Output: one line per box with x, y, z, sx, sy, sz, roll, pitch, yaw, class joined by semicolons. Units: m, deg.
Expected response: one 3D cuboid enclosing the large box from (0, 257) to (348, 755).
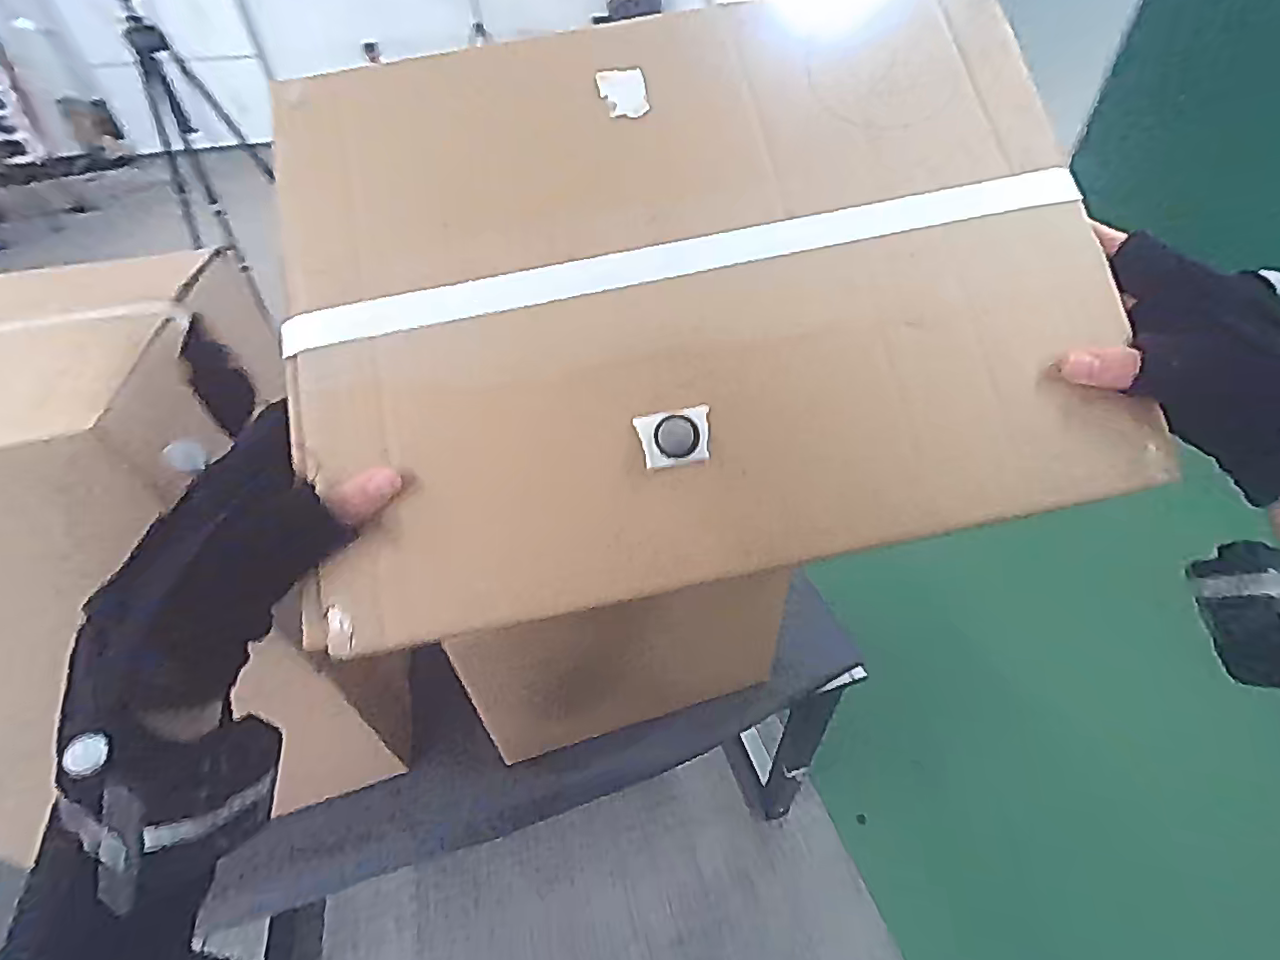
-0.547;0.024;0.500;0.408;0.320;0.320;-13;45;-13;large box
